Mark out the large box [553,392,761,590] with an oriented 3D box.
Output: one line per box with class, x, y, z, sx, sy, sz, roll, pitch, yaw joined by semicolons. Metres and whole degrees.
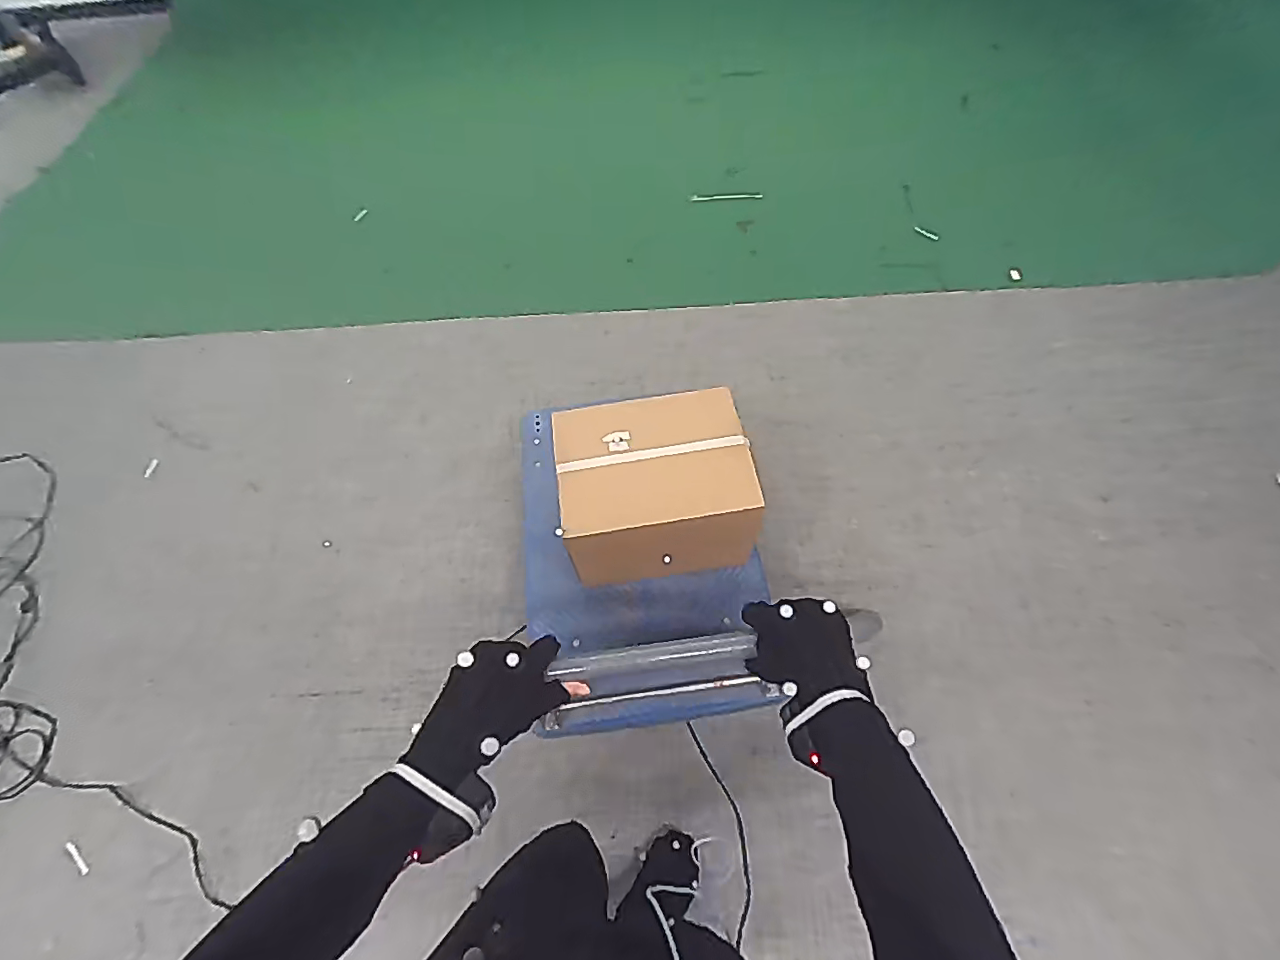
large box;0.035;0.038;1.274;0.408;0.320;0.320;-10;59;-1
